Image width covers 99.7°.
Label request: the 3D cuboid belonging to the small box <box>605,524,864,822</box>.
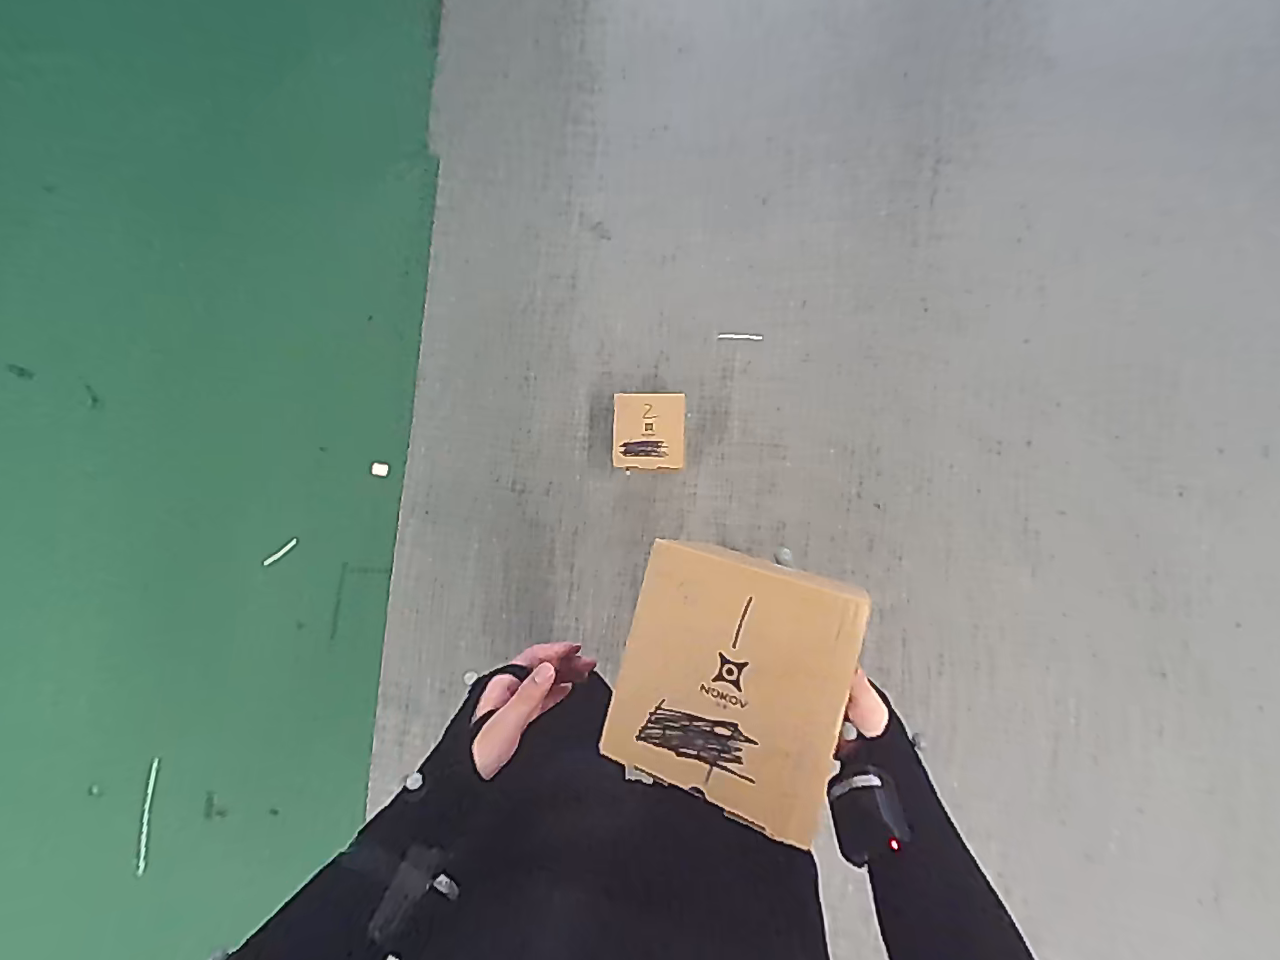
[{"bbox_3d":[0.093,0.147,0.480,0.168,0.176,0.179,13,87,22],"label":"small box"}]
